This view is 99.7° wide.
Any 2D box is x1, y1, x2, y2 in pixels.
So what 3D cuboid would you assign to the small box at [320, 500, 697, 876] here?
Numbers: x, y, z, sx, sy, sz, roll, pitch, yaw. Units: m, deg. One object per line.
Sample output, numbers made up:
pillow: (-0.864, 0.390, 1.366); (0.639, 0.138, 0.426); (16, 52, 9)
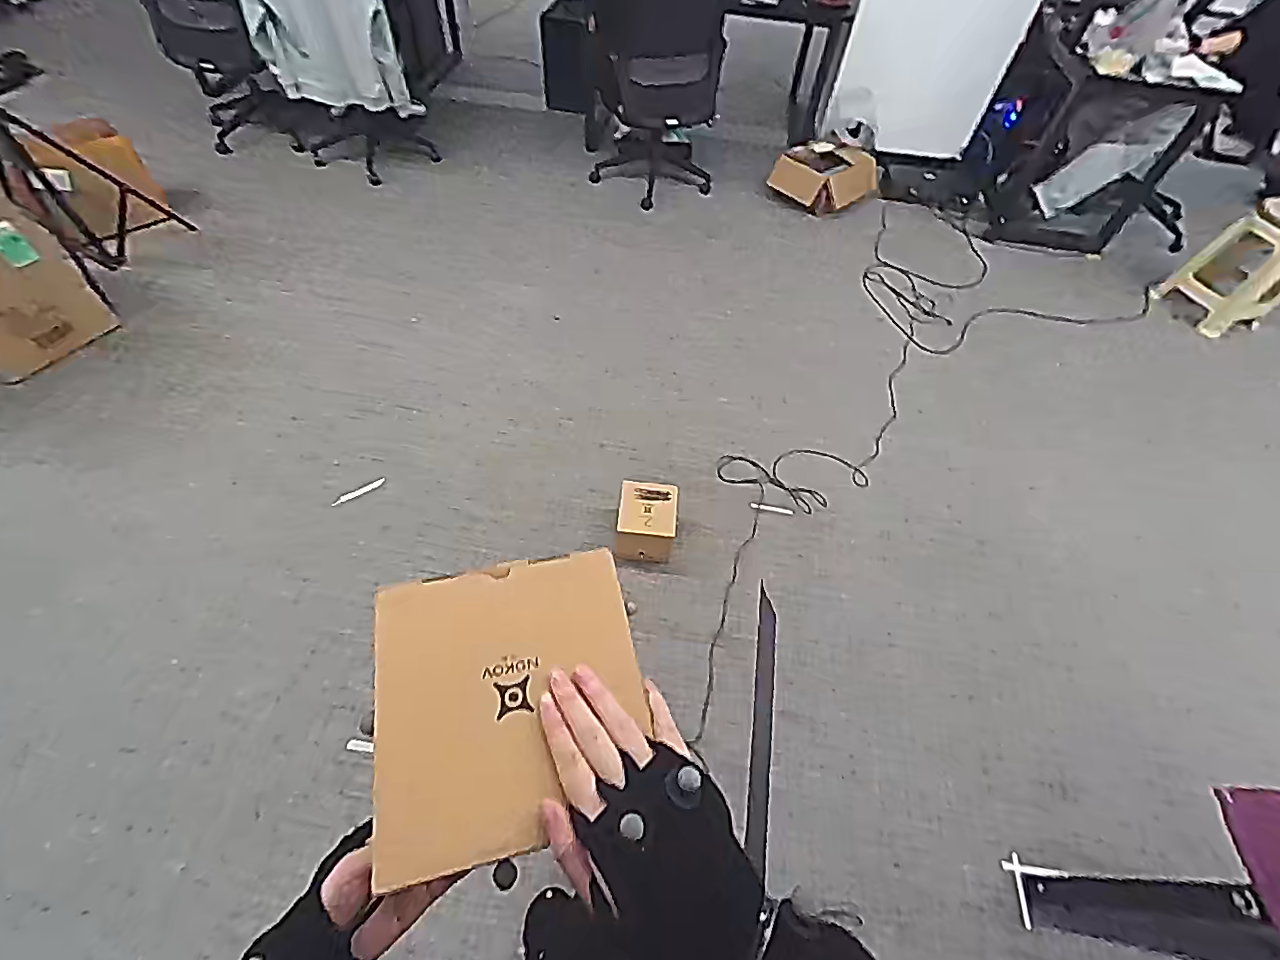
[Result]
small box: (-0.083, 0.139, 0.384); (0.179, 0.176, 0.168); (-23, 40, -1)
